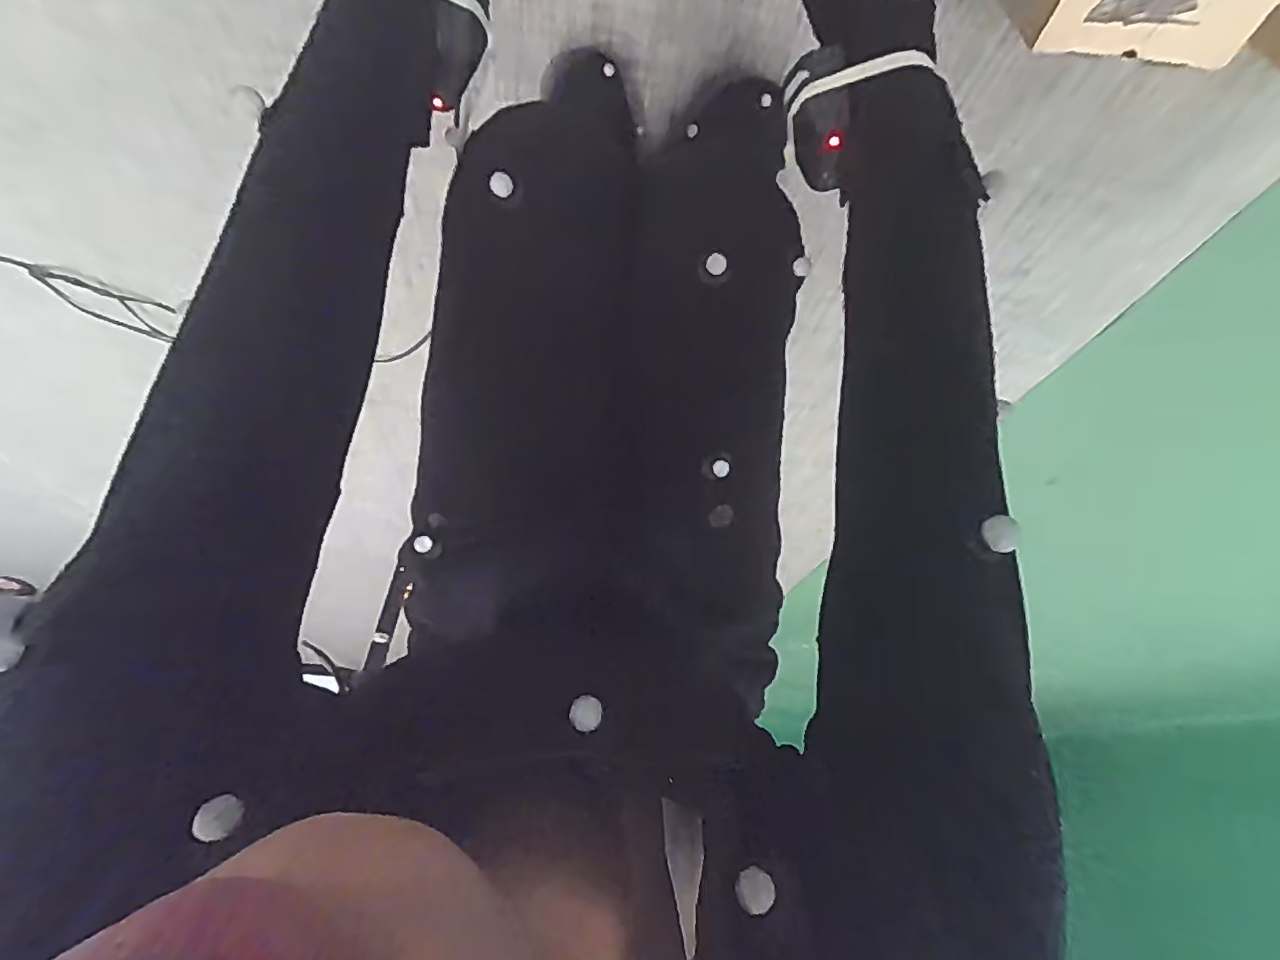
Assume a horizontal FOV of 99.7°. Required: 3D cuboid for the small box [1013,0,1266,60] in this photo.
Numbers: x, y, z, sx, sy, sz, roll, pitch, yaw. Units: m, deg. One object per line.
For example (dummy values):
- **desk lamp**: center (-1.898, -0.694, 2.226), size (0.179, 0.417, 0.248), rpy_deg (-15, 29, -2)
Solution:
- **small box**: center (0.419, -0.477, 0.424), size (0.168, 0.176, 0.179), rpy_deg (5, 149, -2)
